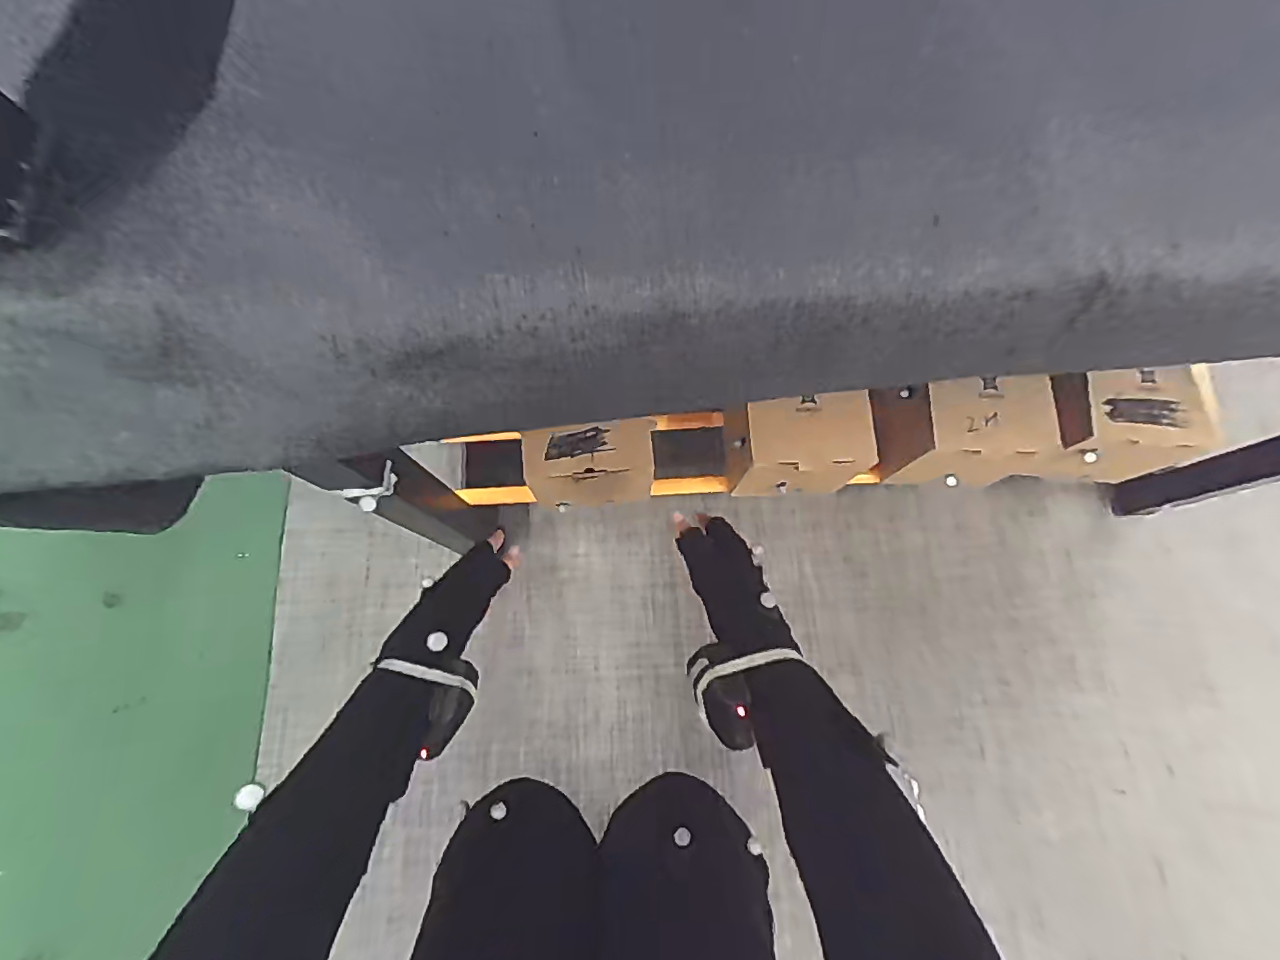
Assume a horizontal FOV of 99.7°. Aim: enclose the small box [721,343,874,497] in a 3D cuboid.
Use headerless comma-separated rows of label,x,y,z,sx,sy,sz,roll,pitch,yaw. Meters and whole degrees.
small box,0.214,-0.081,0.786,0.168,0.176,0.179,-2,75,-1
